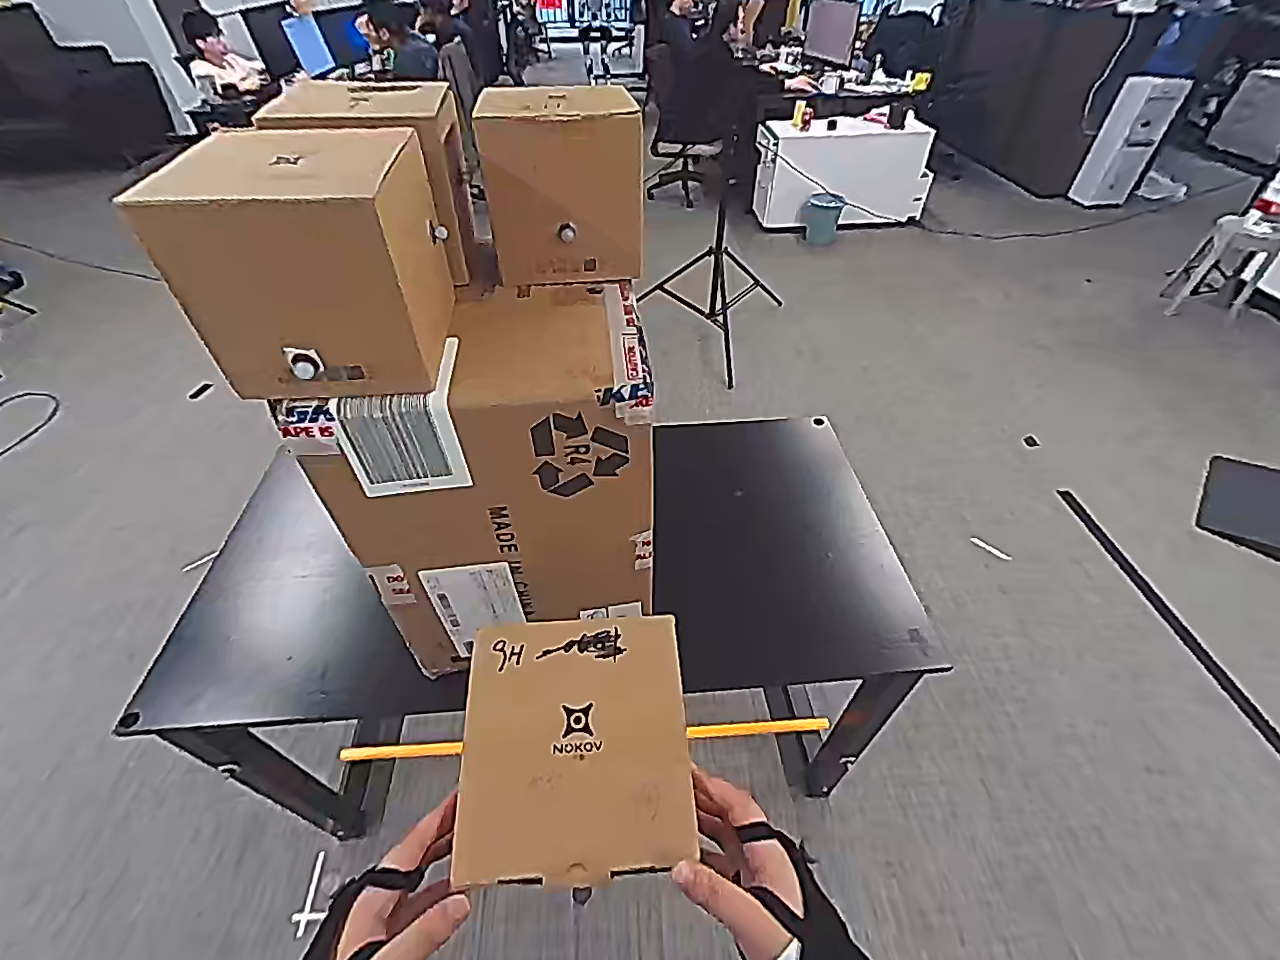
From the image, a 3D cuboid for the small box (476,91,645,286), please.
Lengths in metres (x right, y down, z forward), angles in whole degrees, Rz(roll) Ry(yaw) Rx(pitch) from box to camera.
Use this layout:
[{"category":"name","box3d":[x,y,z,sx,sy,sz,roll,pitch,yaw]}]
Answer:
[{"category":"small box","box3d":[-0.087,-0.345,0.639,0.168,0.176,0.179,-6,43,-5]}]

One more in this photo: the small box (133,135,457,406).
[{"category":"small box","box3d":[-0.266,-0.185,0.477,0.168,0.176,0.179,-5,47,-6]}]
